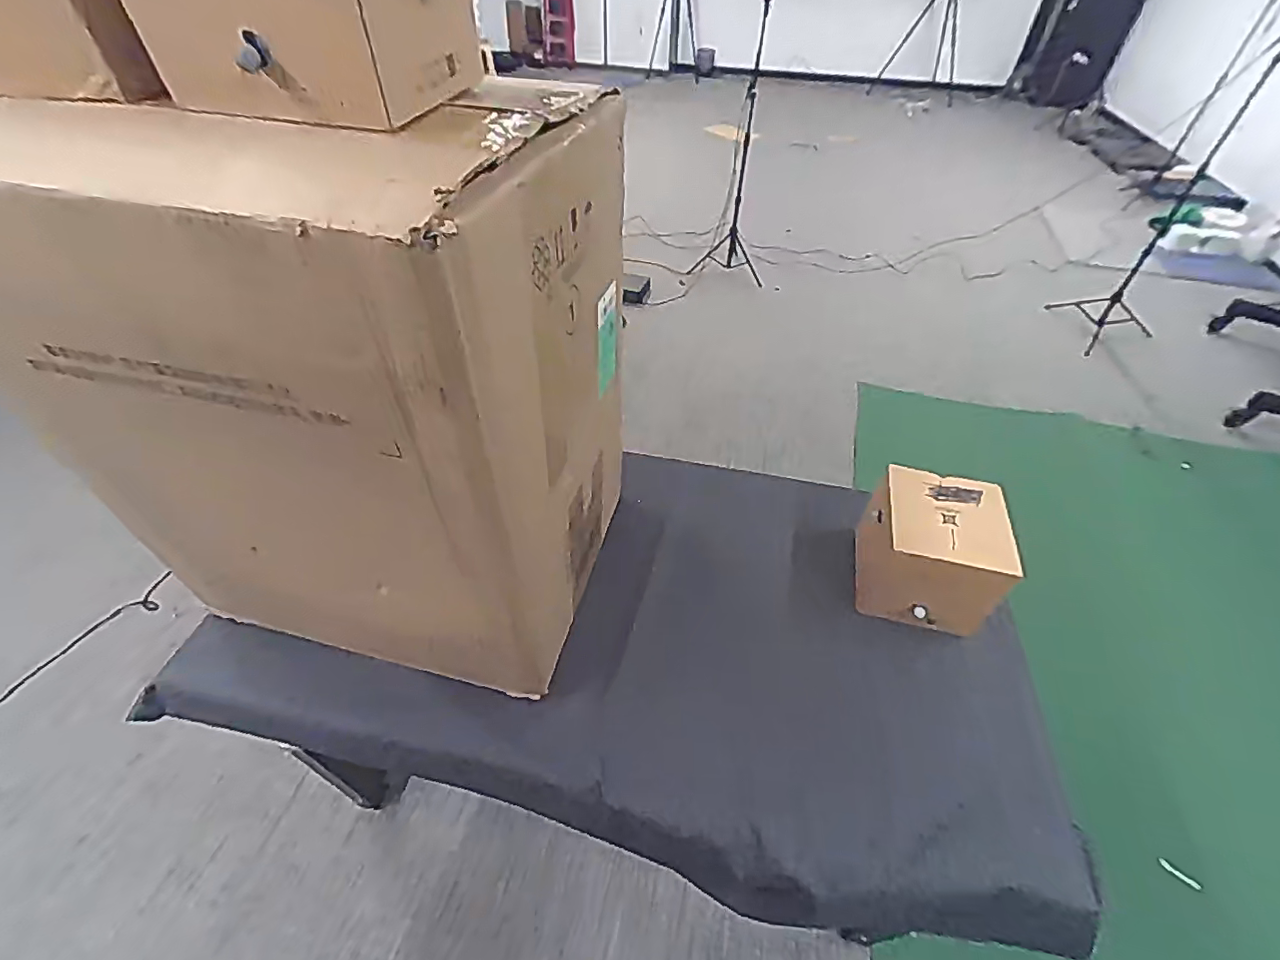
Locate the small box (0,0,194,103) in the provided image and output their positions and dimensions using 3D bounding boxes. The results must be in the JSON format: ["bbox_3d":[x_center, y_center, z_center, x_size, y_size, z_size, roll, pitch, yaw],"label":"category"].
[{"bbox_3d":[-0.444,-0.411,0.416,0.179,0.176,0.168,9,50,5],"label":"small box"}]

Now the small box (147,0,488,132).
[{"bbox_3d":[-0.227,-0.371,0.388,0.179,0.176,0.168,10,48,6],"label":"small box"}]

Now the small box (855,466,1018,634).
[{"bbox_3d":[0.445,0.109,0.846,0.168,0.176,0.179,12,48,10],"label":"small box"}]
